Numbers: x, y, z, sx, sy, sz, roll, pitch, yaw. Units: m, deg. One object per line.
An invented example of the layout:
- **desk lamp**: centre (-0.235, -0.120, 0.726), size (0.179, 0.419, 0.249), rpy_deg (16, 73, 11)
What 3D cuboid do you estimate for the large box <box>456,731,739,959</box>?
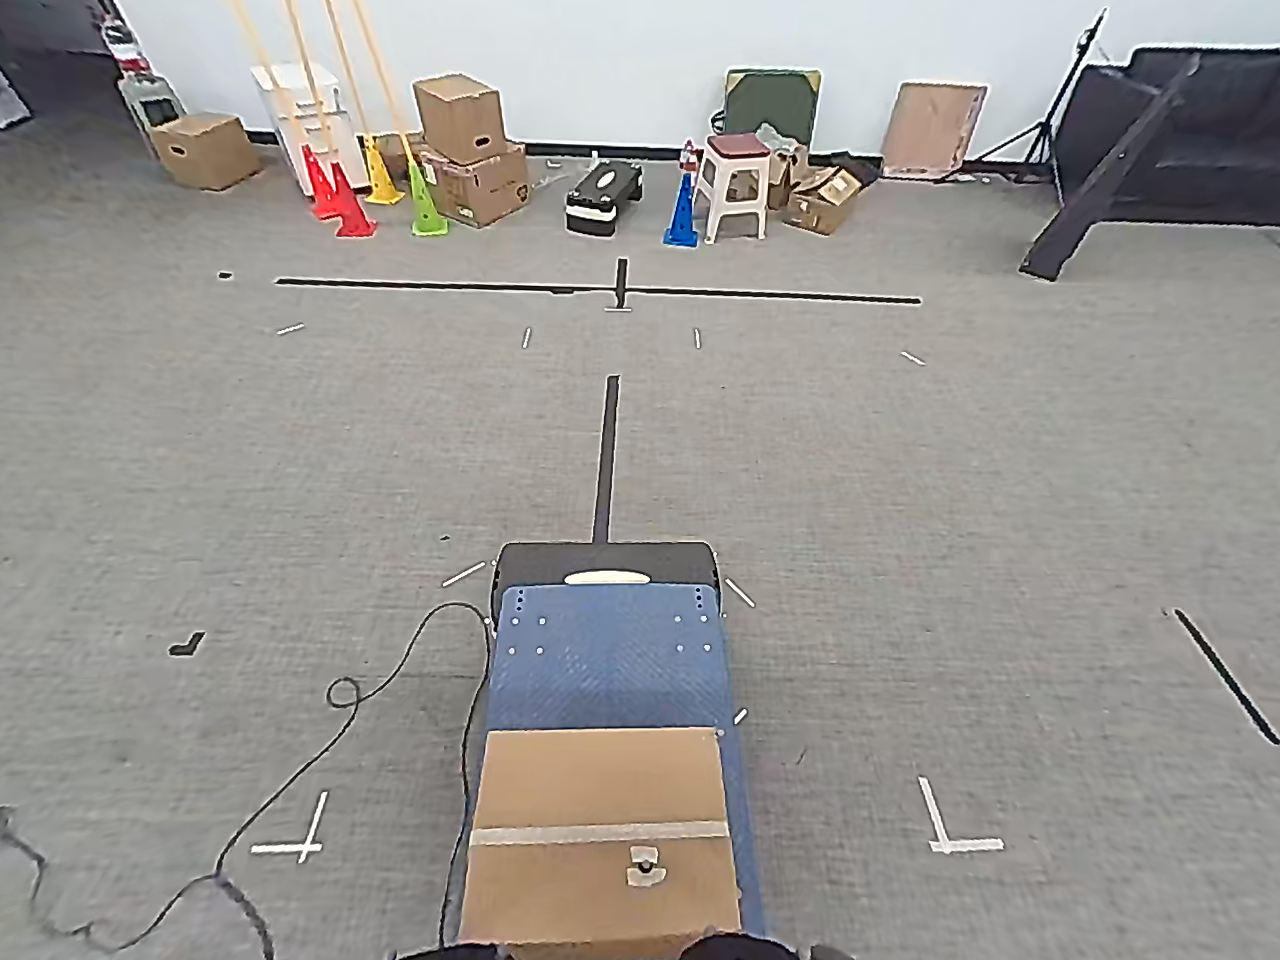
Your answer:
- **large box**: centre (-0.072, 0.658, 0.956), size (0.408, 0.320, 0.320), rpy_deg (1, 49, -4)
